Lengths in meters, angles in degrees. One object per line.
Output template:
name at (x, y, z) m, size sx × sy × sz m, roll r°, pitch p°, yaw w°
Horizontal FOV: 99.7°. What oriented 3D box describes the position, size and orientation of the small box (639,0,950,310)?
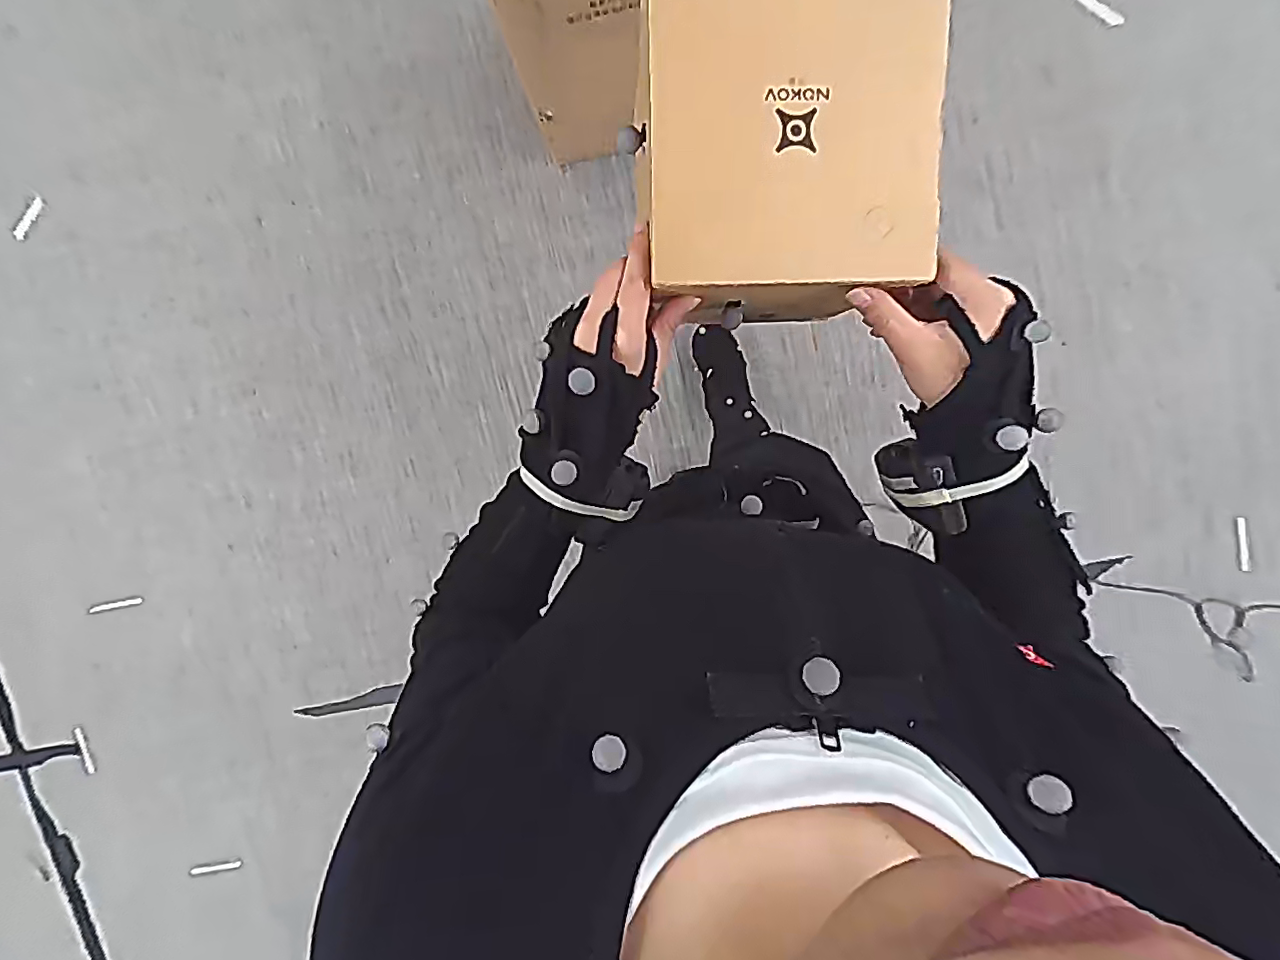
small box at (0.084, -0.219, 0.374) m, size 0.168 × 0.176 × 0.179 m, roll -2°, pitch 97°, yaw -1°
